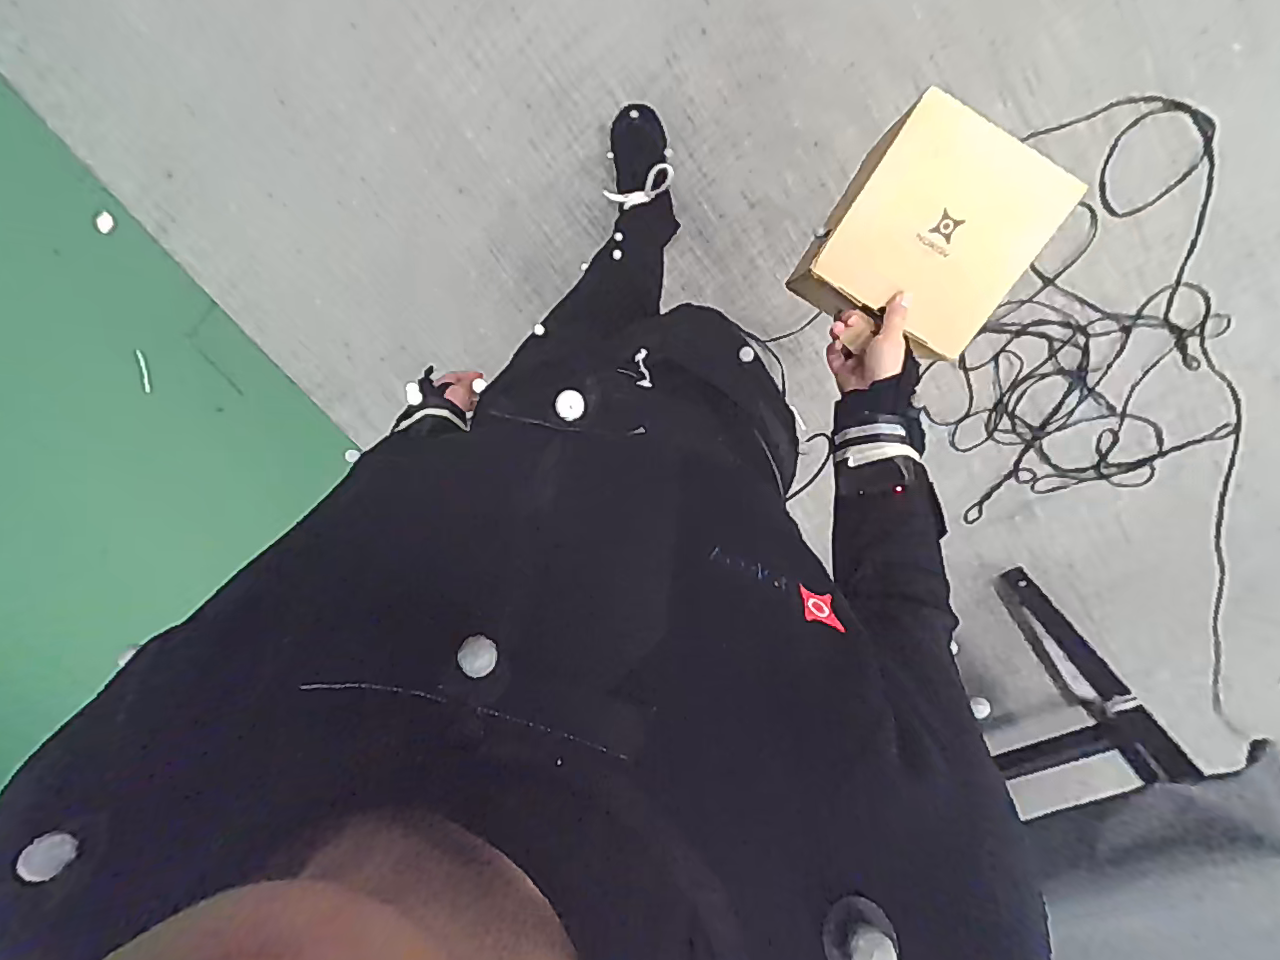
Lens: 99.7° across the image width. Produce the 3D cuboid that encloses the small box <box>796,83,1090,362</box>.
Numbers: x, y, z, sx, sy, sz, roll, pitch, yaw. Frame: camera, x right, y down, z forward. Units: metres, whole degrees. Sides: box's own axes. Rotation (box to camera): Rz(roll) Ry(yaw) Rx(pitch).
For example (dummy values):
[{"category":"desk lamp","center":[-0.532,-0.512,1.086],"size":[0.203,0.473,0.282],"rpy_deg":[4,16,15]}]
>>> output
[{"category":"small box","center":[0.282,-0.244,0.557],"size":[0.168,0.176,0.179],"rpy_deg":[32,107,-3]}]
